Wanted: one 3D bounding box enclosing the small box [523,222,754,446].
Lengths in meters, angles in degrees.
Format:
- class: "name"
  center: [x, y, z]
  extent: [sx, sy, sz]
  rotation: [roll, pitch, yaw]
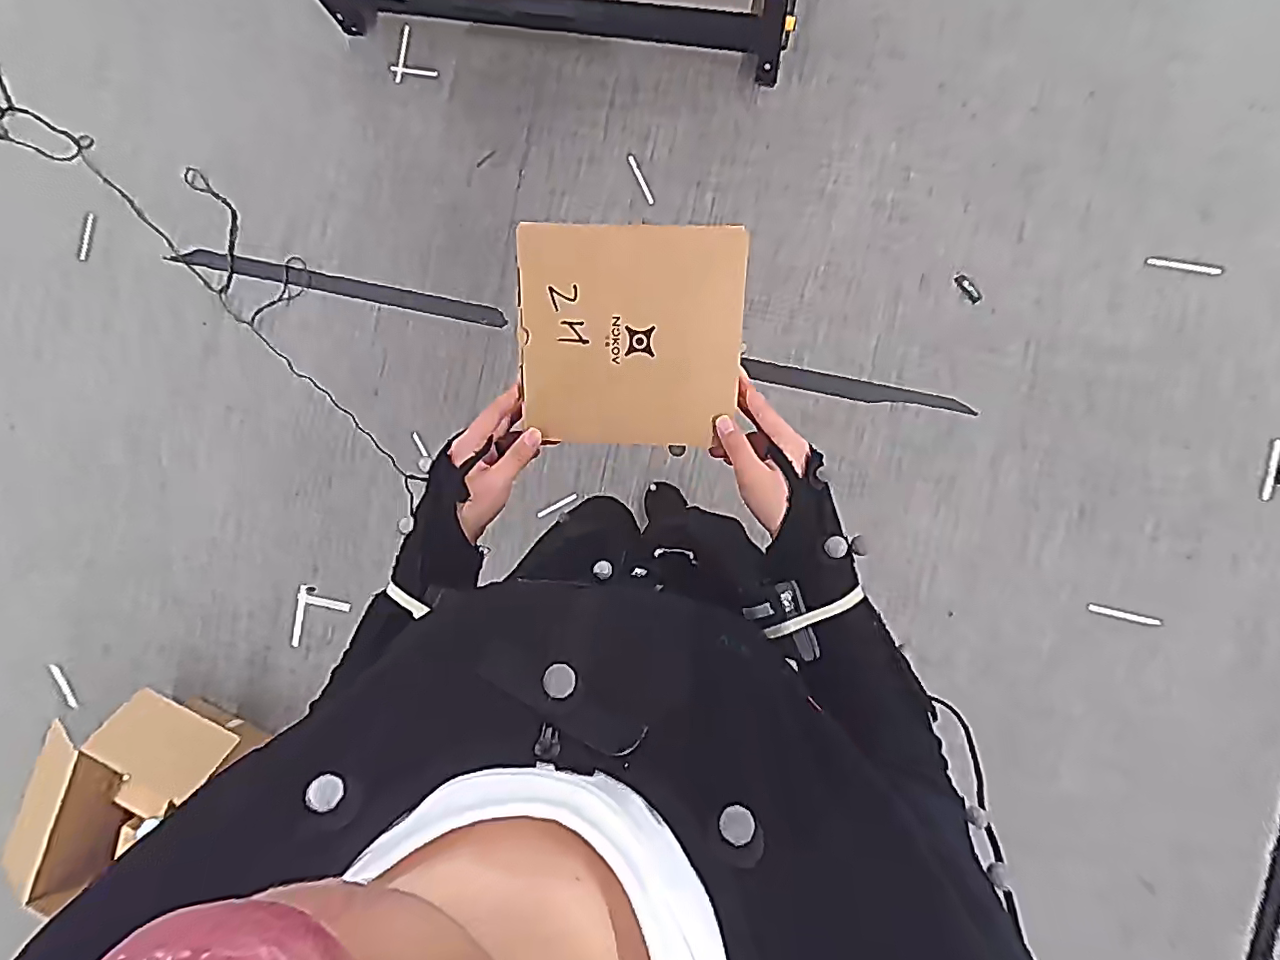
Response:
- class: "small box"
  center: [-0.001, -0.132, 0.499]
  extent: [0.179, 0.176, 0.168]
  rotation: [3, 105, 3]
